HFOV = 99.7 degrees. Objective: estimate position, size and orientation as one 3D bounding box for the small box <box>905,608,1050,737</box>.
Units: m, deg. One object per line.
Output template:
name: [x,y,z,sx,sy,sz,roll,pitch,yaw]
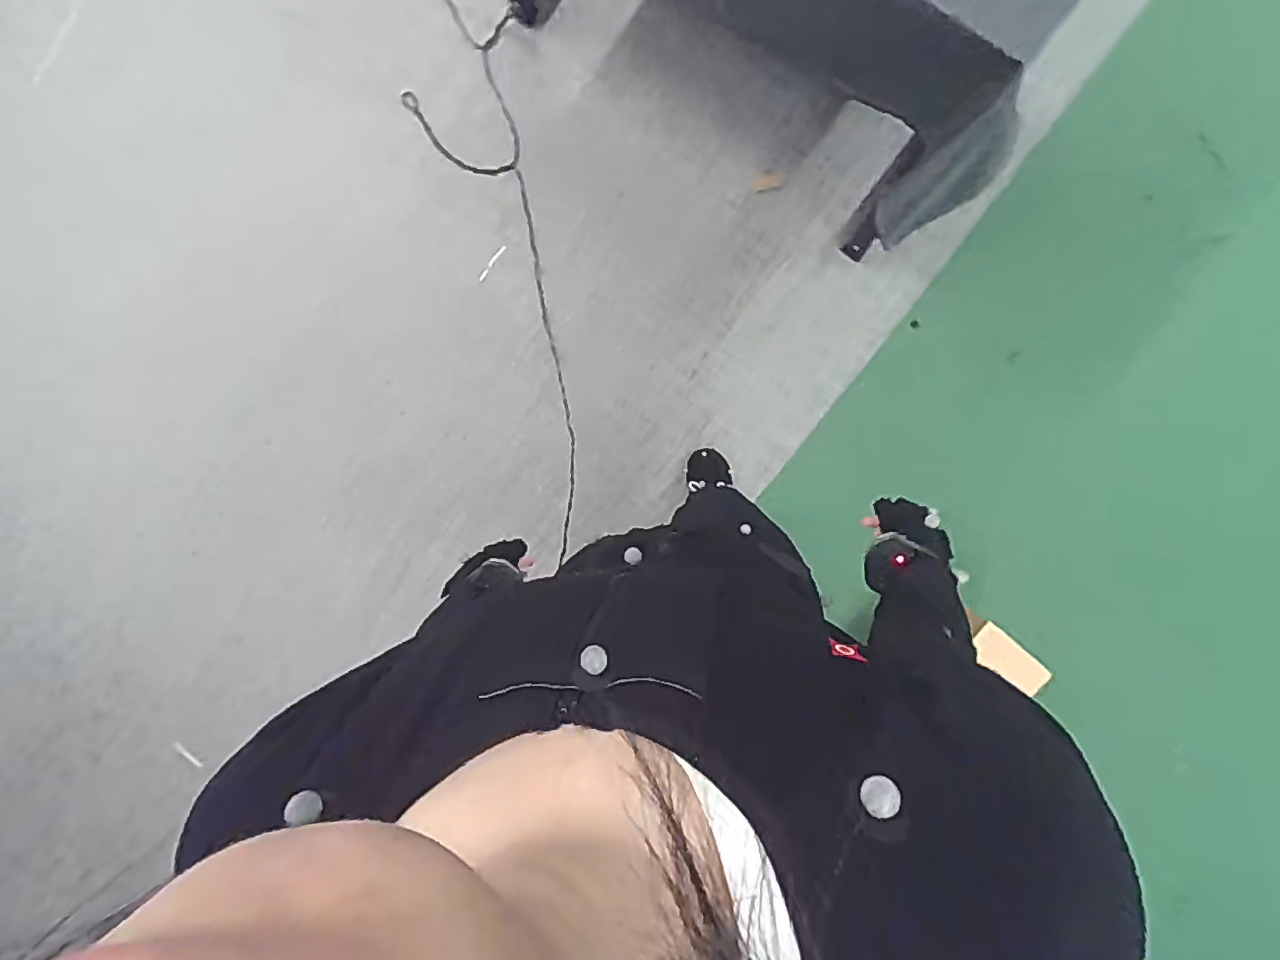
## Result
small box: [0.720,0.407,1.178,0.168,0.176,0.179,42,94,3]
